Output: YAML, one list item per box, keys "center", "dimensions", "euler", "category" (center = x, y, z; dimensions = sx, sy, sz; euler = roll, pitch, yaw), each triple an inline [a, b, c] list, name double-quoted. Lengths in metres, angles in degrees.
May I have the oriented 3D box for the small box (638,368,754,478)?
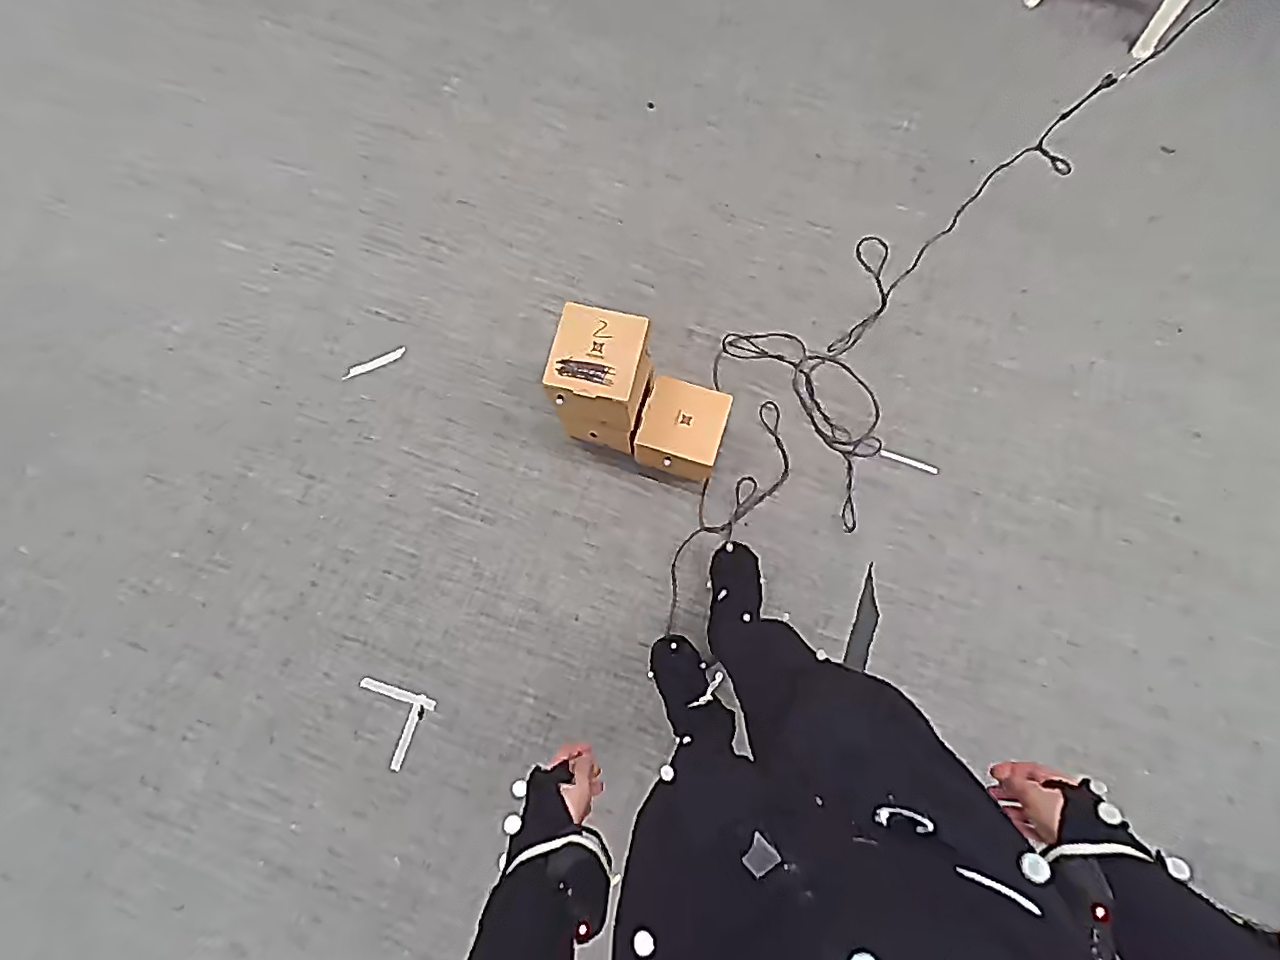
- center: [0.112, -0.118, 1.150]
  dimensions: [0.168, 0.176, 0.179]
  euler: [45, 92, -5]
  category: "small box"
